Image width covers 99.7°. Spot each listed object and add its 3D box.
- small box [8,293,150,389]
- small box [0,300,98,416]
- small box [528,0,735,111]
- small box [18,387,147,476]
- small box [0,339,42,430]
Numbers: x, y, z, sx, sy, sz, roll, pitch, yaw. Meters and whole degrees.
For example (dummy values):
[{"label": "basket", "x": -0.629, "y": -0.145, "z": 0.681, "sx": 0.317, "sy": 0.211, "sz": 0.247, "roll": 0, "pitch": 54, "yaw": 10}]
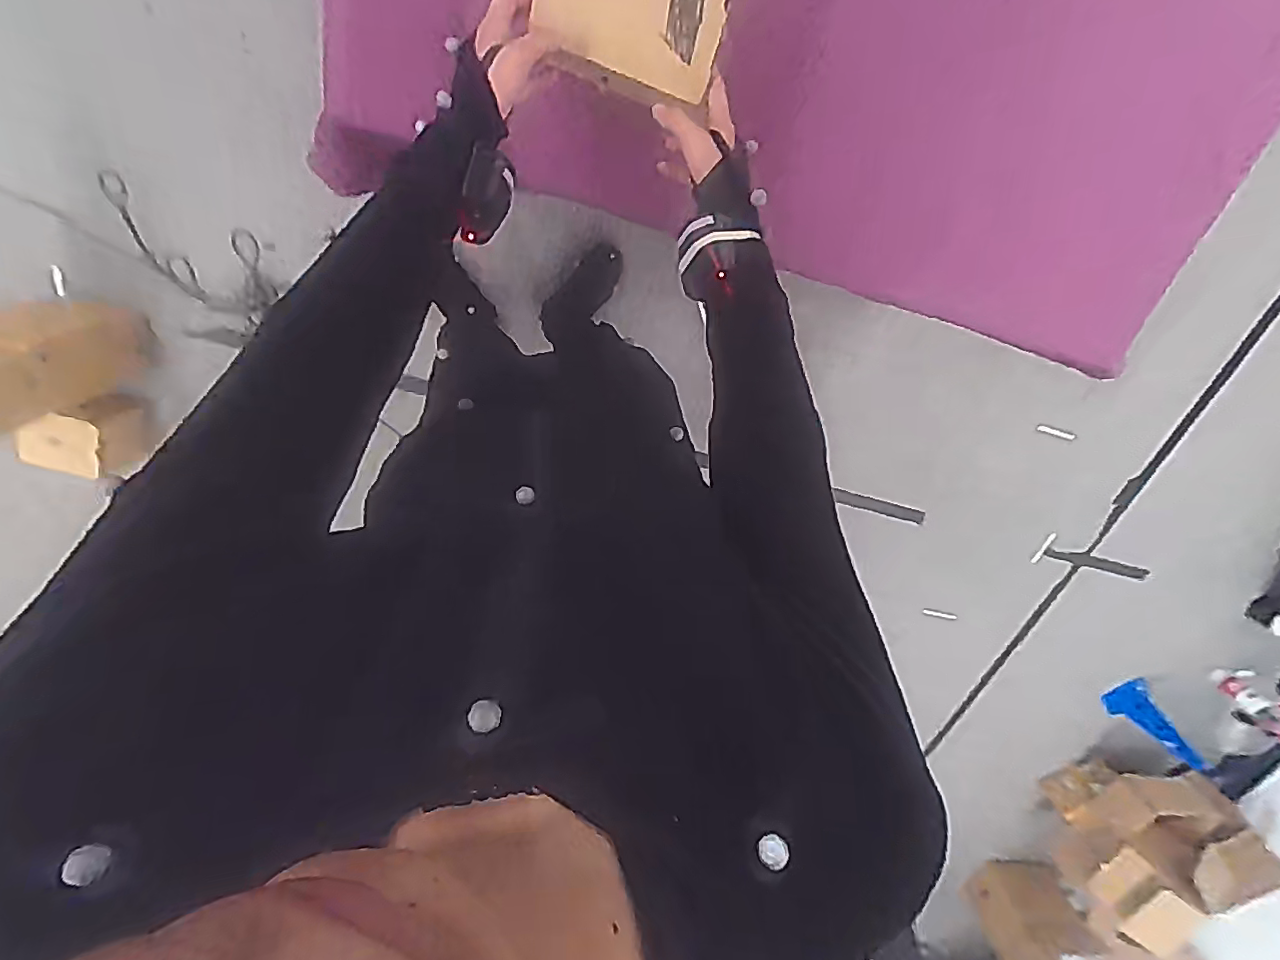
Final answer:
[{"label": "small box", "x": -1.356, "y": -0.346, "z": 1.318, "sx": 0.179, "sy": 0.176, "sz": 0.168, "roll": 14, "pitch": 117, "yaw": -13}, {"label": "small box", "x": -1.340, "y": -0.269, "z": 1.176, "sx": 0.168, "sy": 0.176, "sz": 0.179, "roll": 16, "pitch": 116, "yaw": -14}, {"label": "small box", "x": -0.005, "y": -0.496, "z": 0.543, "sx": 0.179, "sy": 0.176, "sz": 0.168, "roll": 13, "pitch": 119, "yaw": -14}, {"label": "small box", "x": -1.453, "y": -0.141, "z": 1.416, "sx": 0.179, "sy": 0.176, "sz": 0.168, "roll": 18, "pitch": 115, "yaw": -15}, {"label": "small box", "x": -1.325, "y": -0.188, "z": 1.034, "sx": 0.179, "sy": 0.176, "sz": 0.168, "roll": 23, "pitch": 114, "yaw": -16}]
